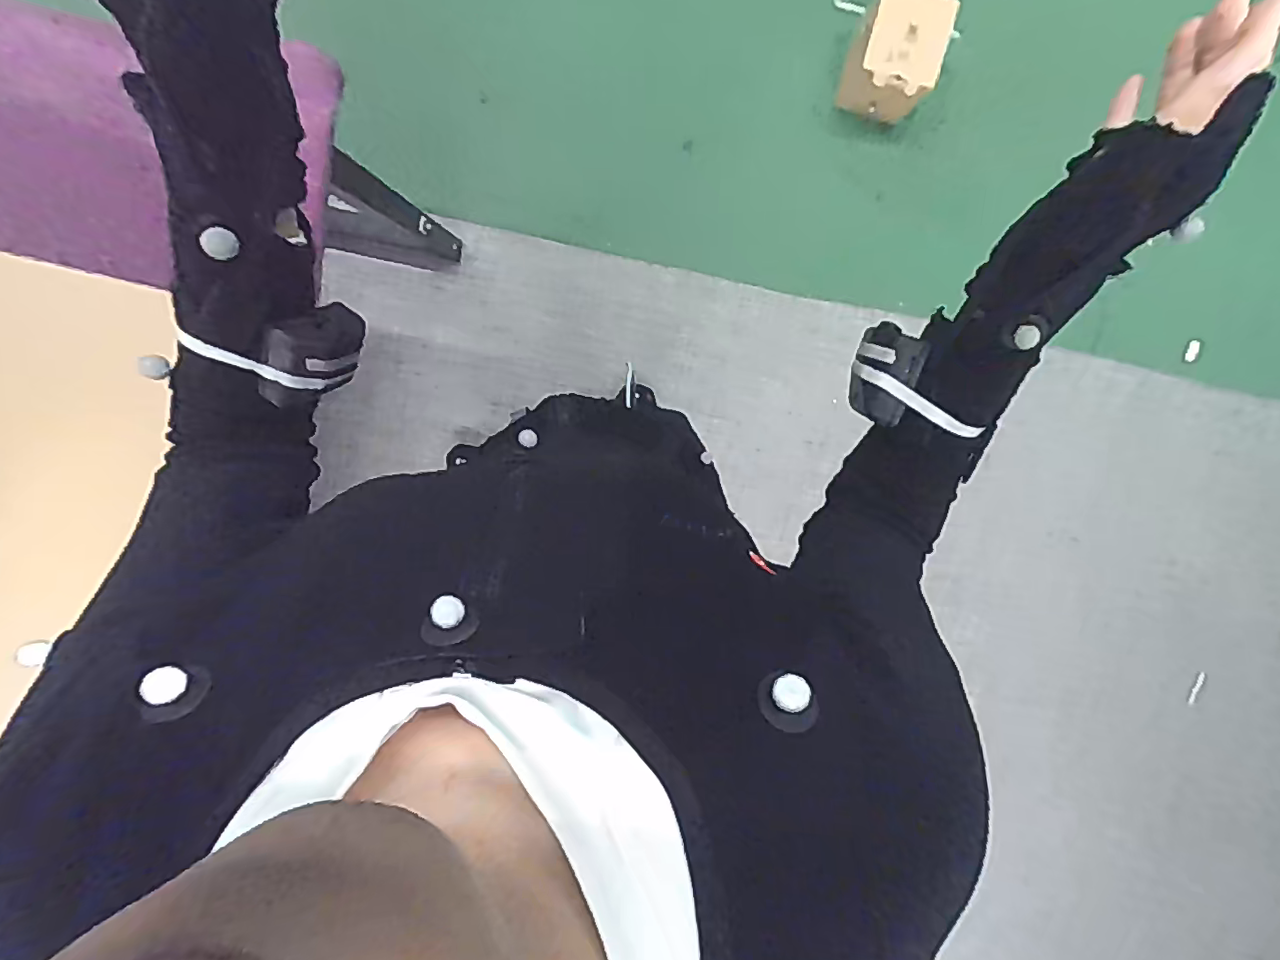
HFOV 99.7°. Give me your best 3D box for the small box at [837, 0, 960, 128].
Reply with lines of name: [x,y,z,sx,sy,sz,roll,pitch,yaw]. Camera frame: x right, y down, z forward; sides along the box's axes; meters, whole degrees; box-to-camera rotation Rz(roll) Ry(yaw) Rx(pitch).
small box: [0.571,-0.945,1.222,0.168,0.176,0.179,14,101,-5]
